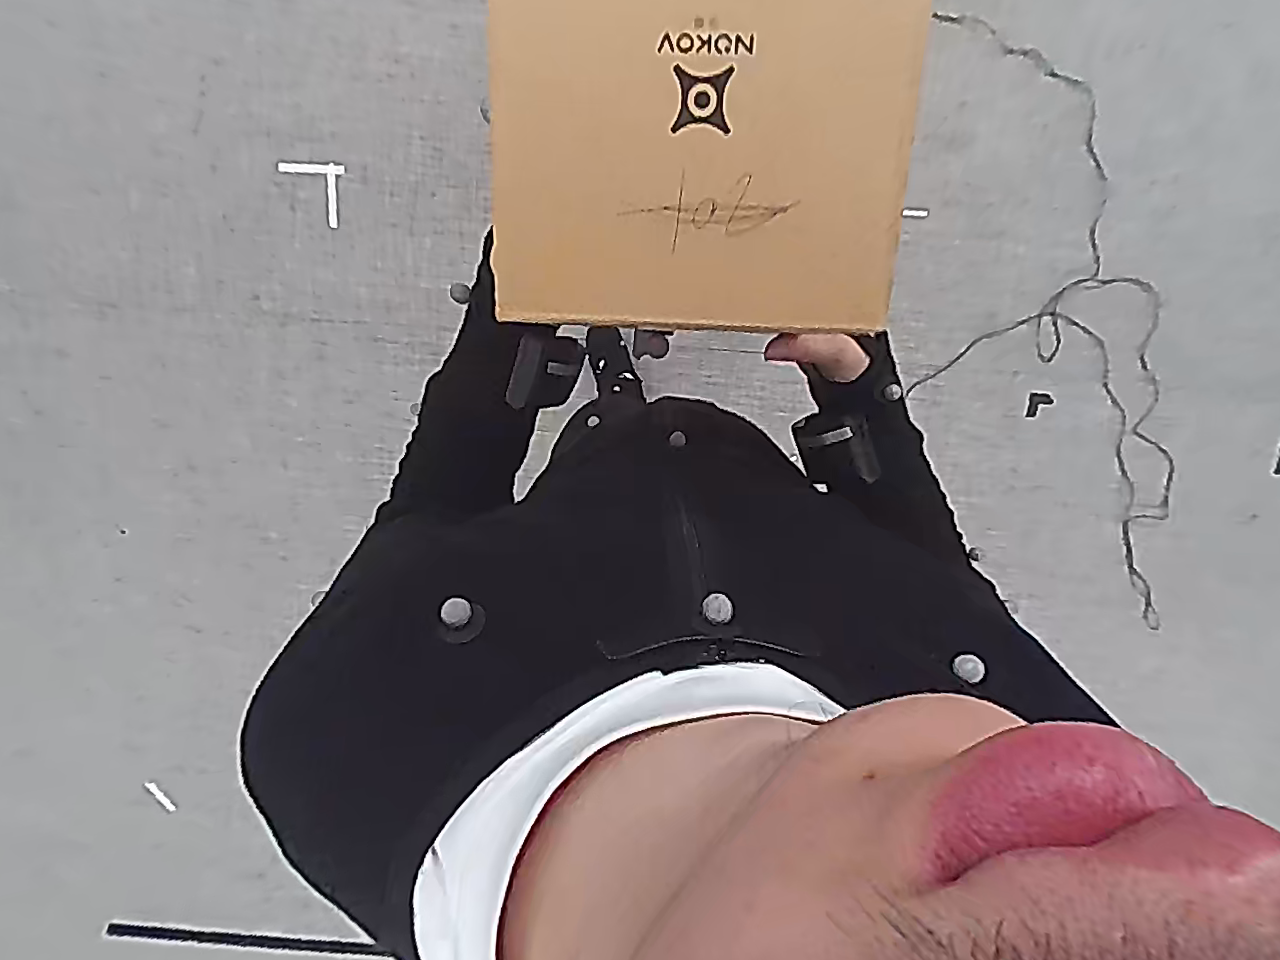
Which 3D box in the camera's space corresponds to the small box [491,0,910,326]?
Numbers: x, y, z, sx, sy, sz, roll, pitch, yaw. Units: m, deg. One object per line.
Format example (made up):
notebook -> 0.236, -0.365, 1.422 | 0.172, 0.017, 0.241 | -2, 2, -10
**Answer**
small box -> 0.024, -0.179, 0.295 | 0.168, 0.176, 0.179 | 2, 106, 2
